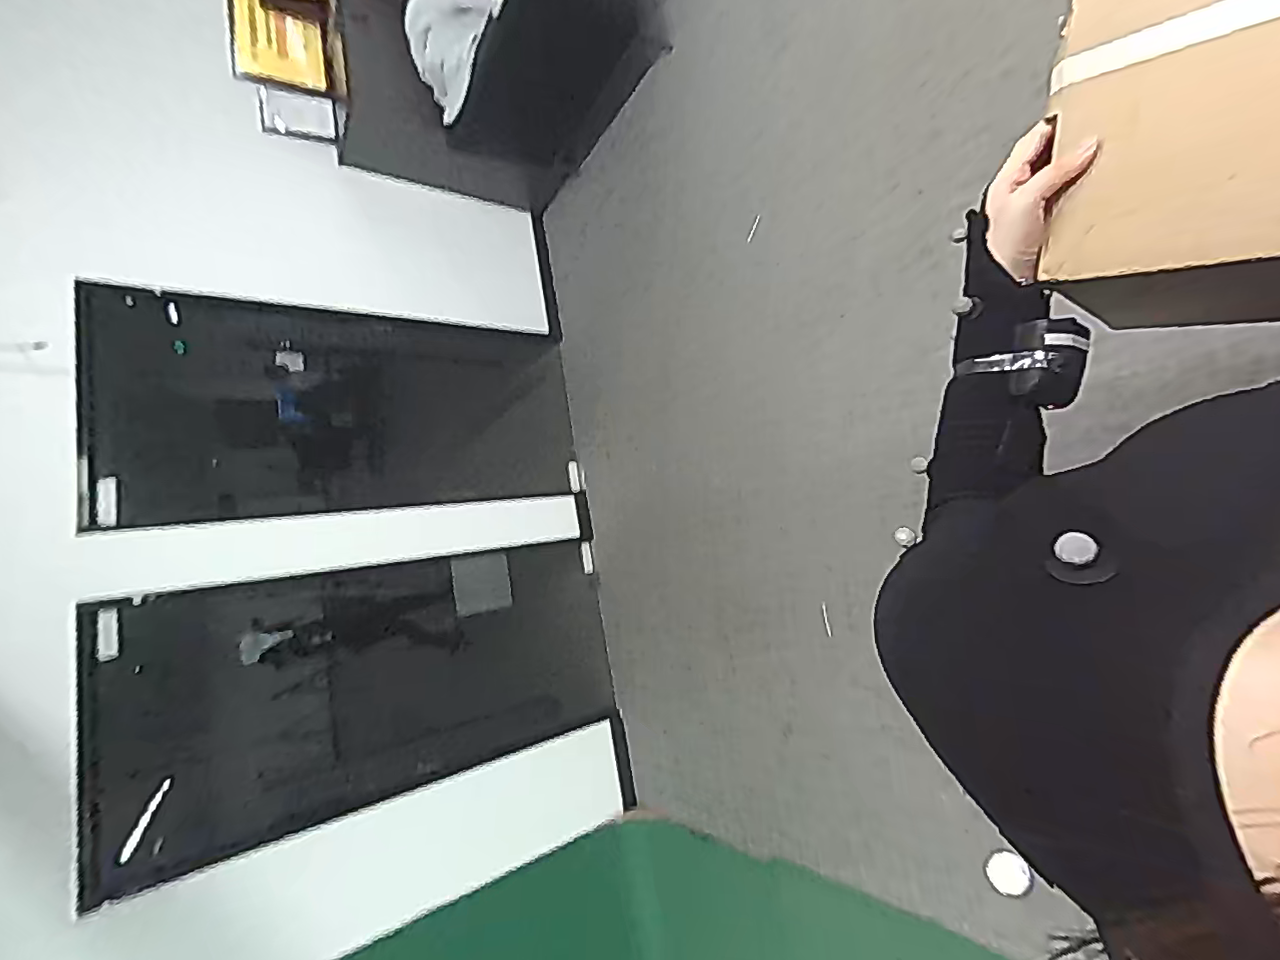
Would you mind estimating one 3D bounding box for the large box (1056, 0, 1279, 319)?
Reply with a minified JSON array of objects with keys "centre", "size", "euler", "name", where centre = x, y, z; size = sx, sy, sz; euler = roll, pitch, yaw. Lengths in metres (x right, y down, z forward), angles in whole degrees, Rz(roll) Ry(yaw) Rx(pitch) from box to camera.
[{"centre":[0.578,-0.305,0.368],"size":[0.408,0.320,0.320],"euler":[12,102,47],"name":"large box"}]
